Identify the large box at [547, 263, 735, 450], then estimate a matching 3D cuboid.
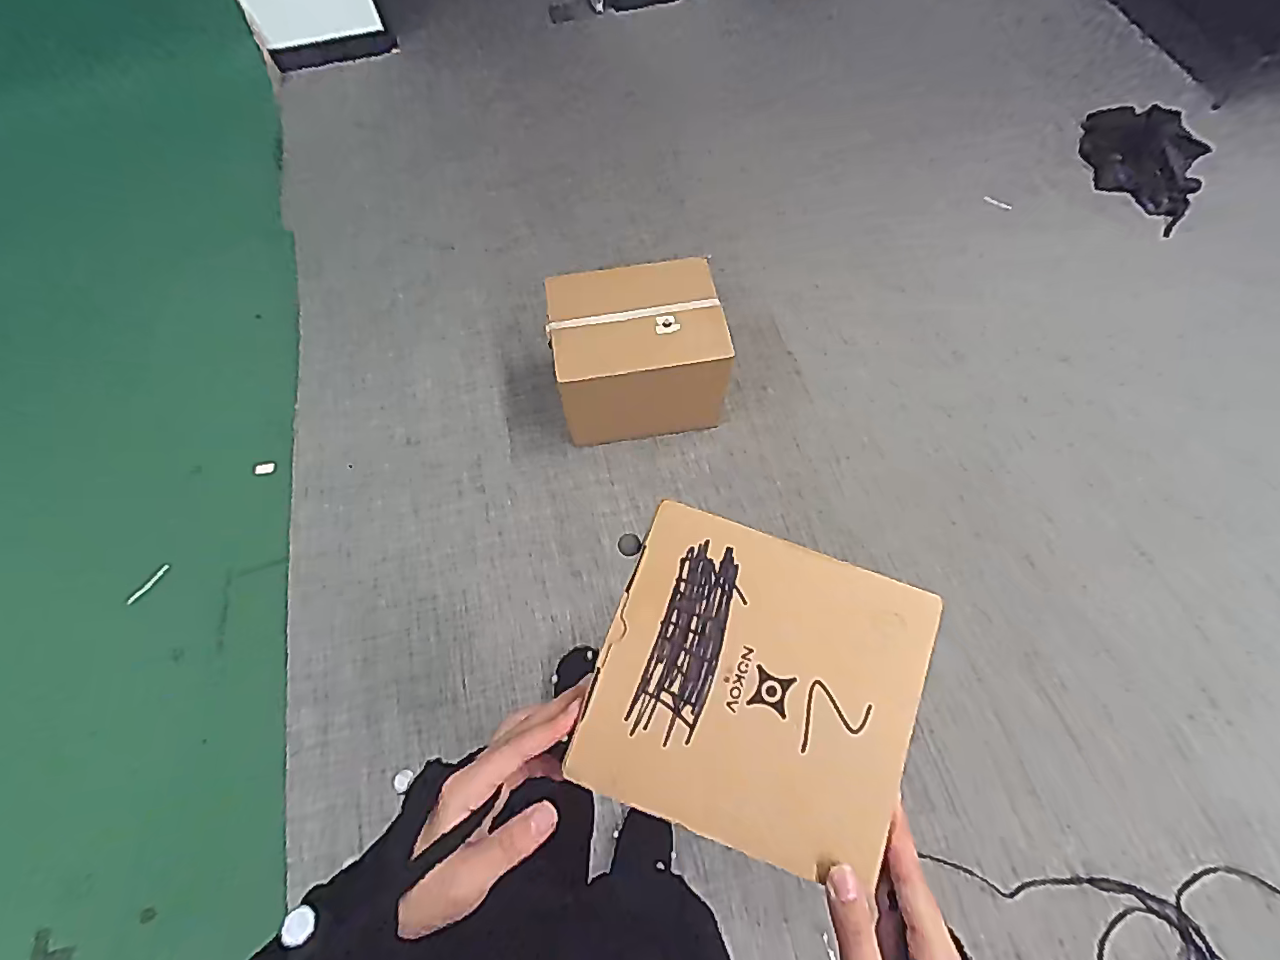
[{"bbox_3d":[-0.006,-0.306,1.392,0.408,0.320,0.320,-9,66,-4],"label":"large box"}]
